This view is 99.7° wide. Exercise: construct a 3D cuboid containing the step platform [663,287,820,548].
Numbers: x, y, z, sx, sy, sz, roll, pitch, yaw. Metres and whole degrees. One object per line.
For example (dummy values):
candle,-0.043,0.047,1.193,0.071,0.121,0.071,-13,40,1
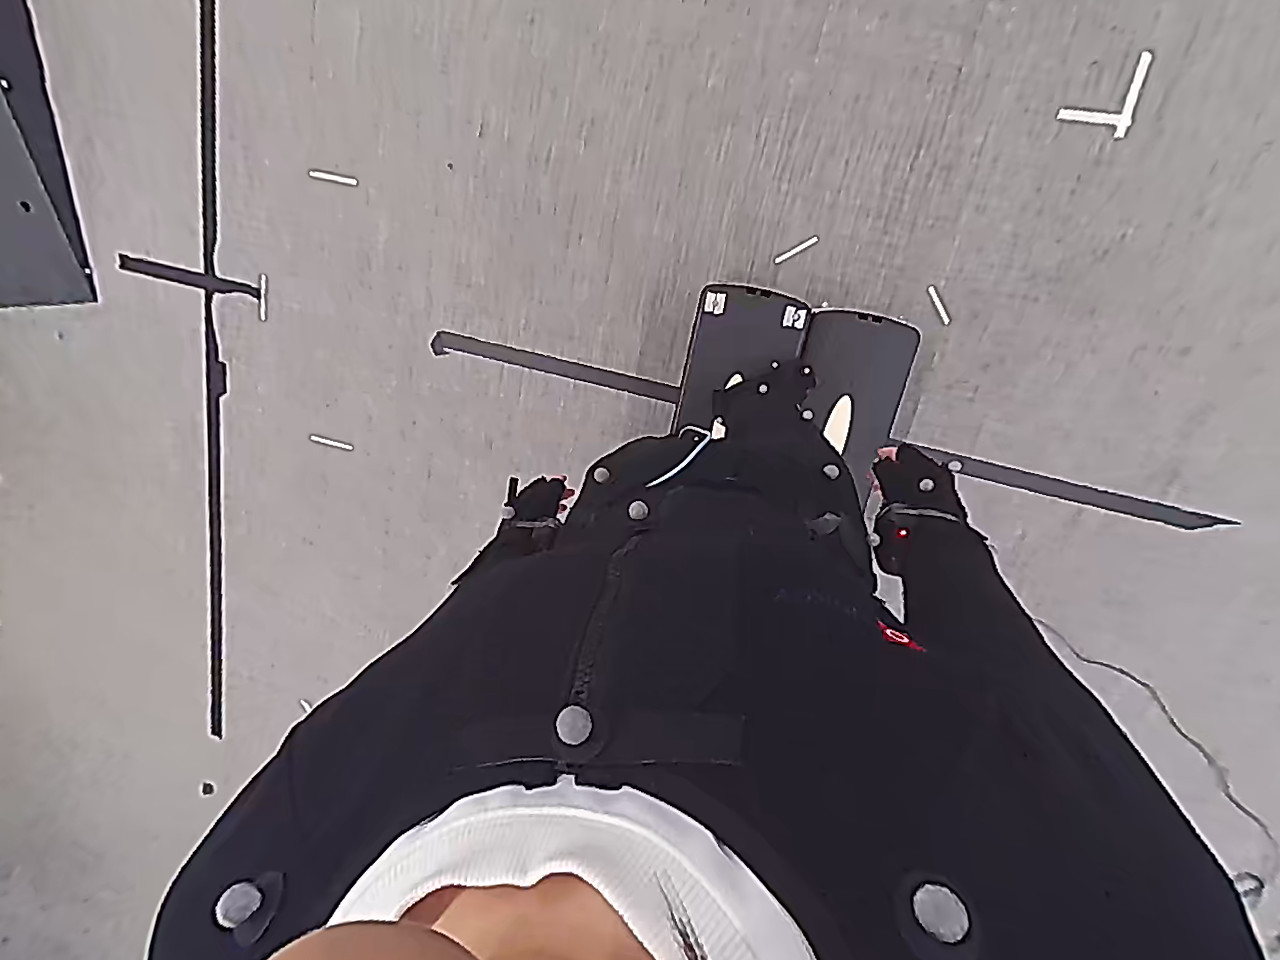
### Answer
step platform,0.263,-0.160,1.470,0.286,0.204,0.684,13,104,6
